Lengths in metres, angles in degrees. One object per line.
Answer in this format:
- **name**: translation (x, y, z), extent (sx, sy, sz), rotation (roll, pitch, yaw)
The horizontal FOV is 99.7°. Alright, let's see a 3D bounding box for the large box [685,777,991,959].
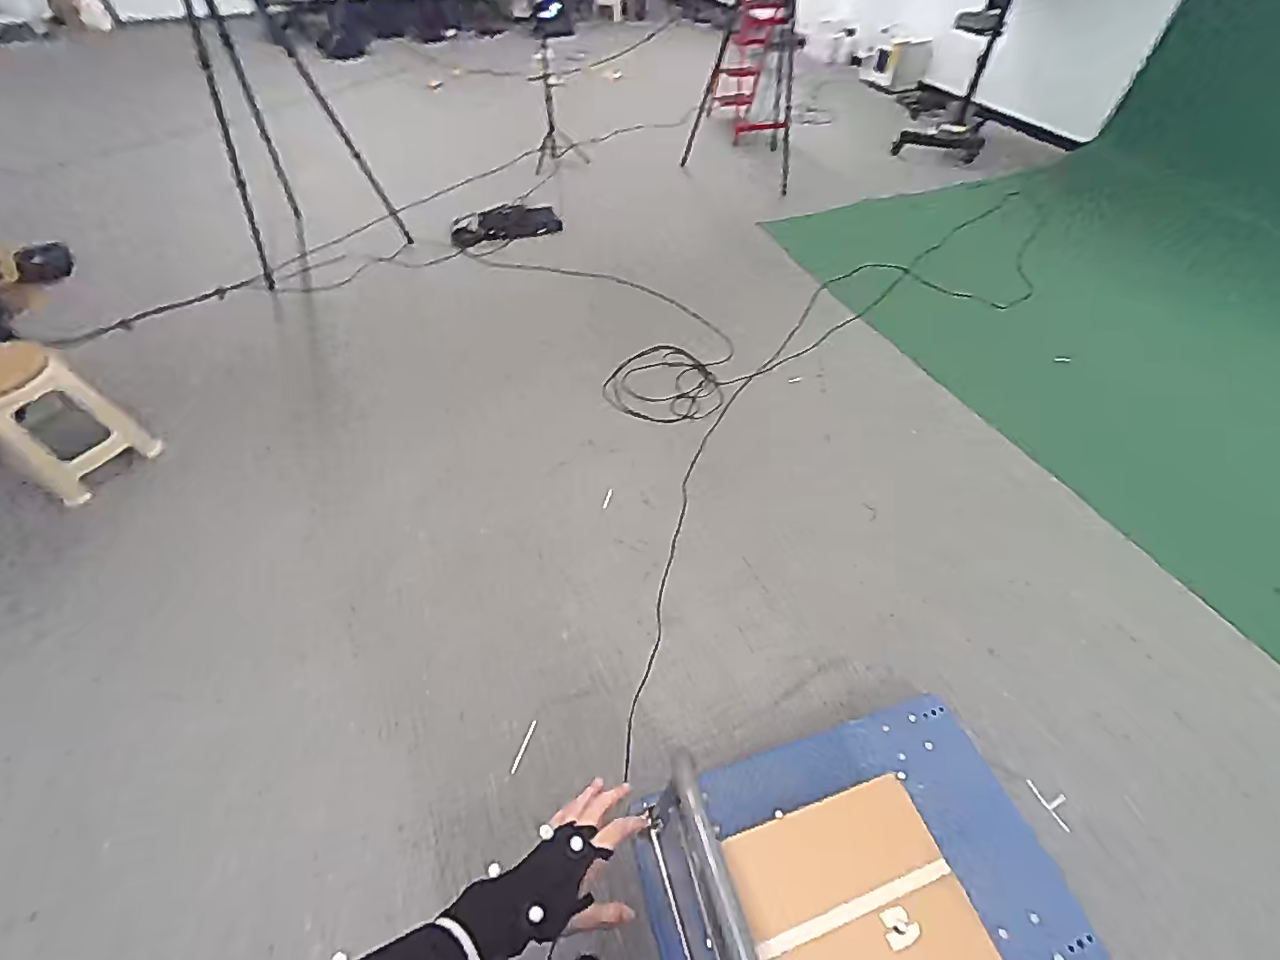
- **large box**: translation (0.336, 0.830, 1.025), extent (0.408, 0.320, 0.320), rotation (-13, 52, -13)
